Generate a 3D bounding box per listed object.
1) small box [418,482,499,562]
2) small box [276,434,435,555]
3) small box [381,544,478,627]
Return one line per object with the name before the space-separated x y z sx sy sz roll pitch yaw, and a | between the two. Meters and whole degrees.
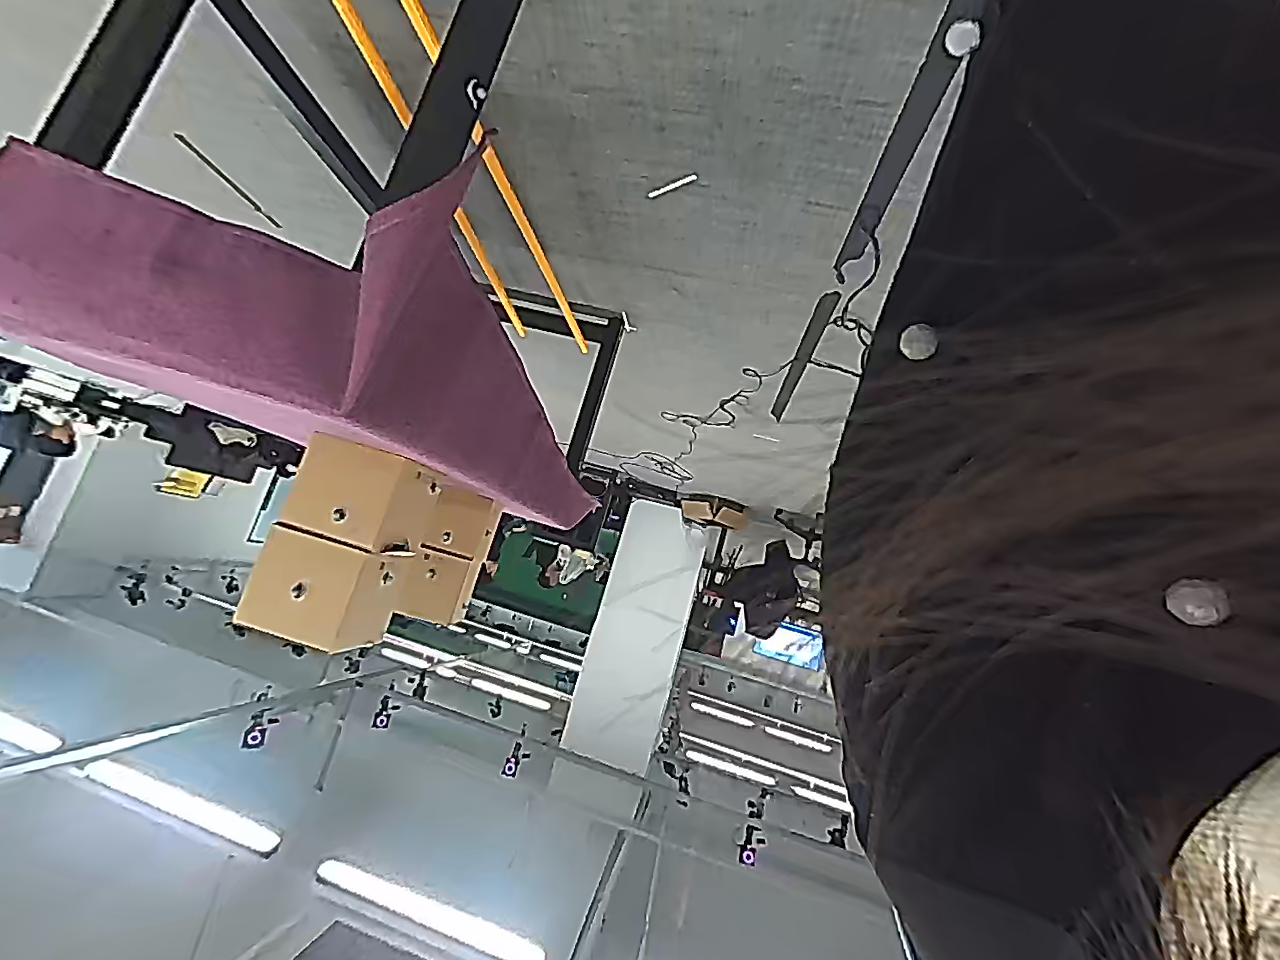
small box | -0.485 0.111 1.428 0.179 0.176 0.168 17 169 -3
small box | -0.493 0.029 0.971 0.179 0.176 0.168 16 170 5
small box | -0.532 0.265 1.394 0.168 0.176 0.179 16 169 -4
